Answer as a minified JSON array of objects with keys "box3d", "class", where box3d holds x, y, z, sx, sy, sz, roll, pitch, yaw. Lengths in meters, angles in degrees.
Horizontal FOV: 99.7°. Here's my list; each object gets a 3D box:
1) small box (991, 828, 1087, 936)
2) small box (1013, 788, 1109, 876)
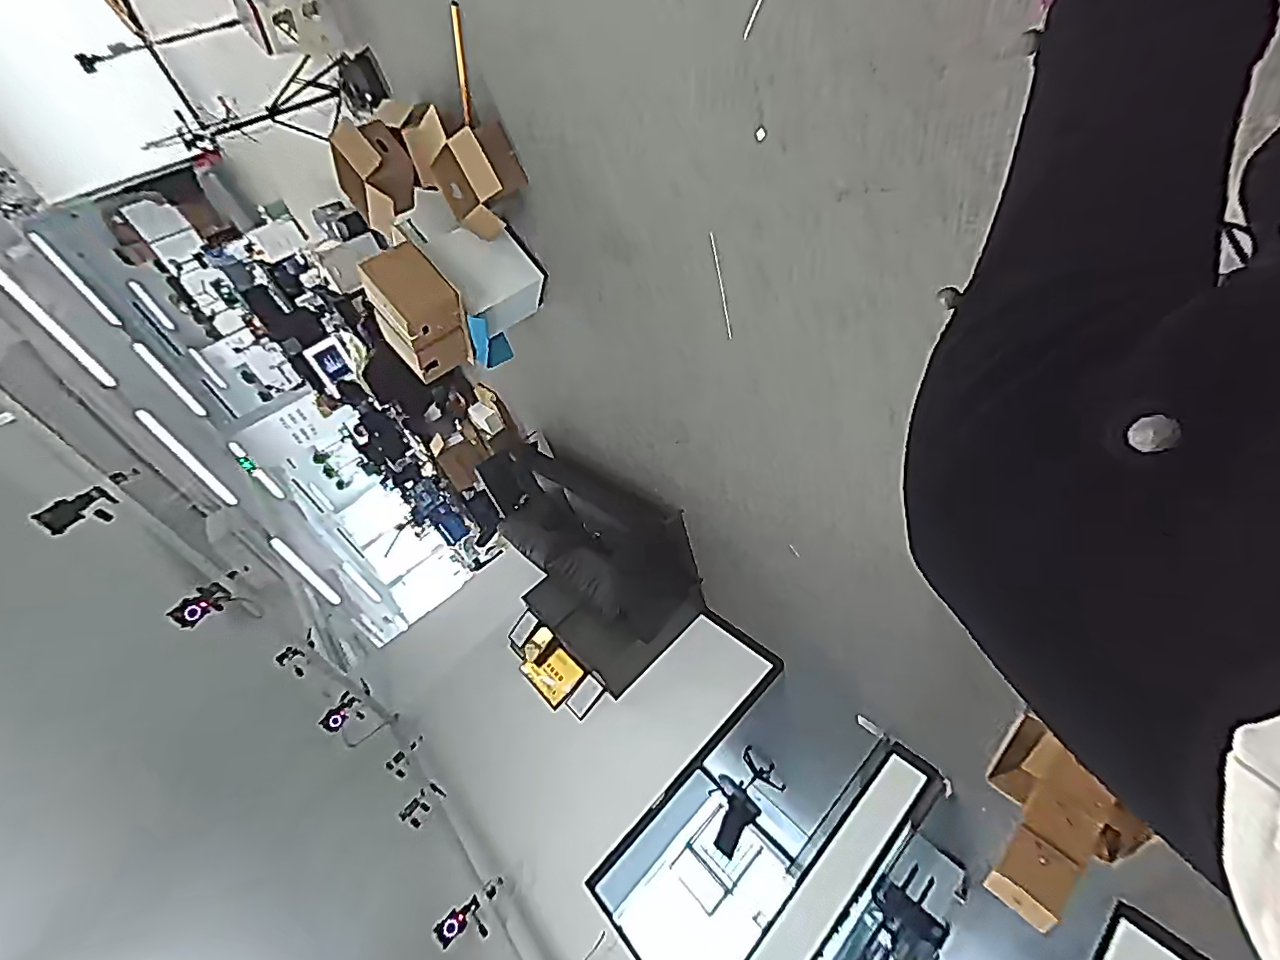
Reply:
[{"box3d":[1.177,1.182,1.597,0.168,0.176,0.179,30,147,42],"class":"small box"},{"box3d":[1.301,1.102,1.671,0.168,0.176,0.179,32,148,41],"class":"small box"}]
